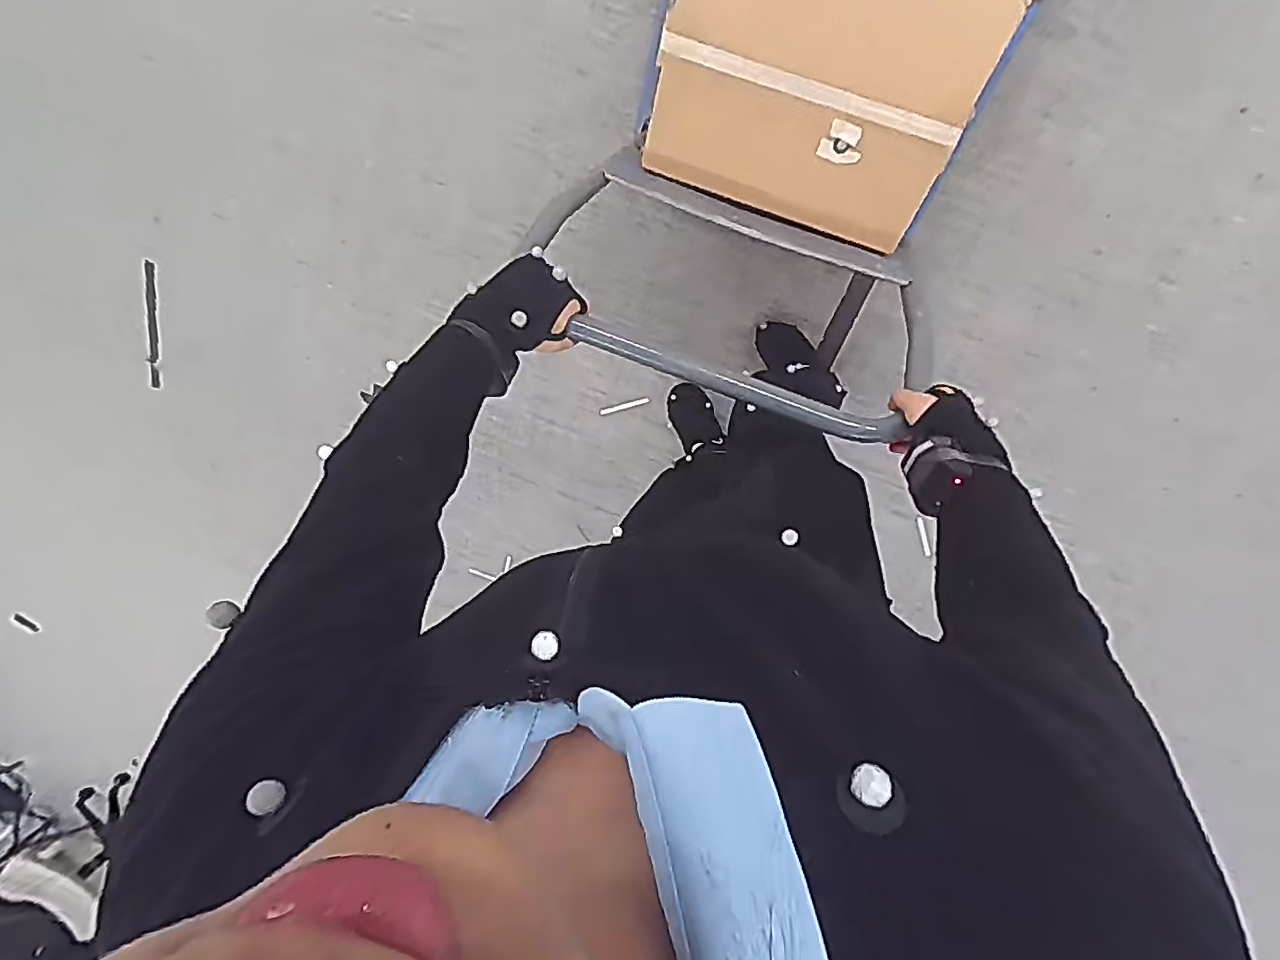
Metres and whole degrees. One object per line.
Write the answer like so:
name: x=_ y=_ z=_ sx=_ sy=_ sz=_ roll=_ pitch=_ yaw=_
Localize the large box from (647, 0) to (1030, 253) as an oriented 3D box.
large box: x=0.264 y=-0.605 z=0.835 sx=0.408 sy=0.320 sz=0.320 roll=20 pitch=132 yaw=2
